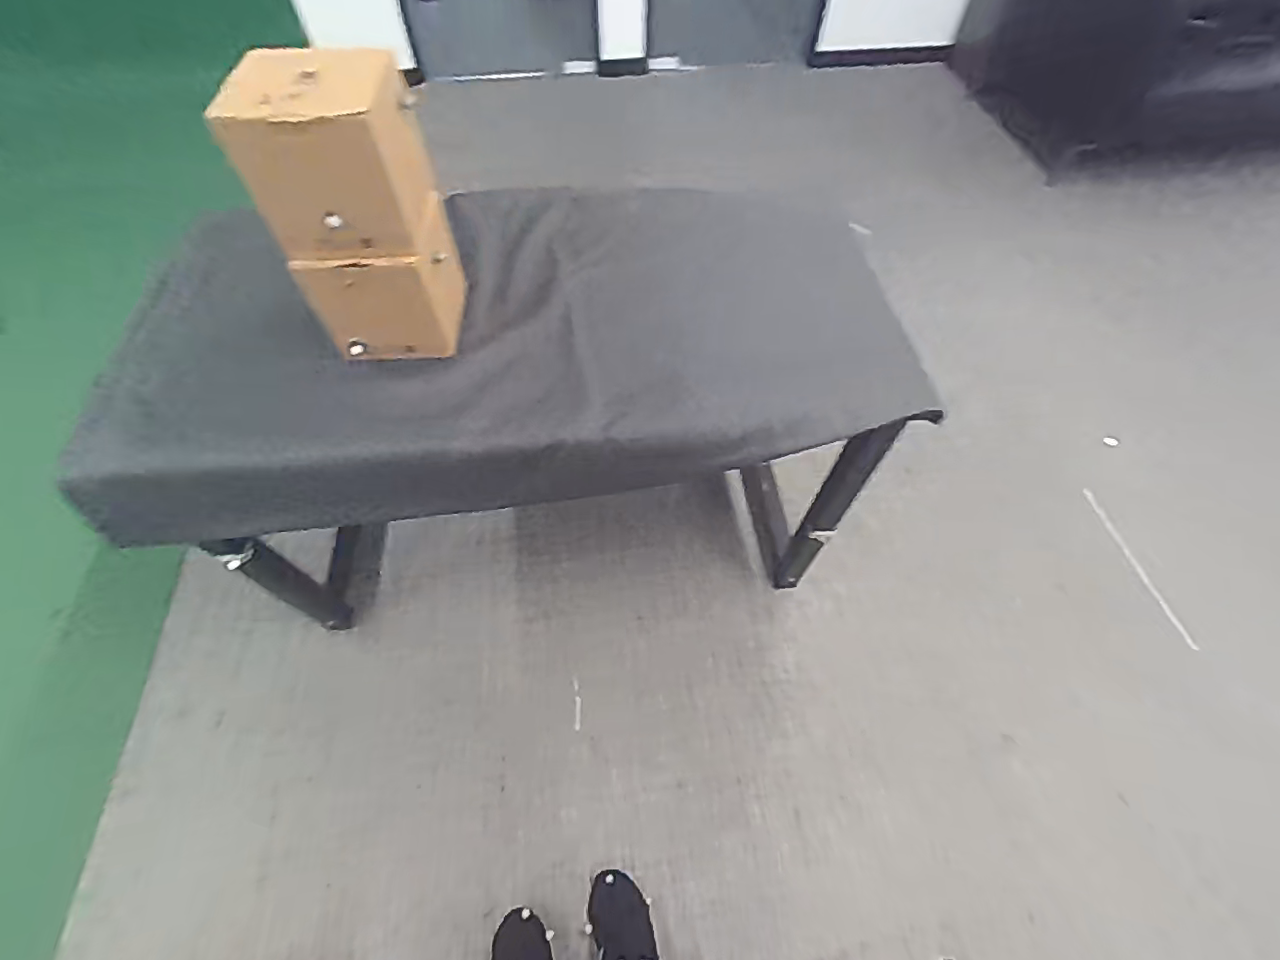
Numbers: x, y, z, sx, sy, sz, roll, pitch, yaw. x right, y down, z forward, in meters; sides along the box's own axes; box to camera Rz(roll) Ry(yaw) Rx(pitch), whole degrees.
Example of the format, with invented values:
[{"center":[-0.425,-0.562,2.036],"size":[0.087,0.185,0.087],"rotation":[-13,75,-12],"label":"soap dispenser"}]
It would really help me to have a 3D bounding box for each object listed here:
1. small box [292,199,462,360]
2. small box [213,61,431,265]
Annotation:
[{"center":[-0.377,-0.295,0.815],"size":[0.168,0.176,0.179],"rotation":[-2,56,-3],"label":"small box"},{"center":[-0.378,-0.399,0.685],"size":[0.168,0.176,0.179],"rotation":[-5,57,-3],"label":"small box"}]
